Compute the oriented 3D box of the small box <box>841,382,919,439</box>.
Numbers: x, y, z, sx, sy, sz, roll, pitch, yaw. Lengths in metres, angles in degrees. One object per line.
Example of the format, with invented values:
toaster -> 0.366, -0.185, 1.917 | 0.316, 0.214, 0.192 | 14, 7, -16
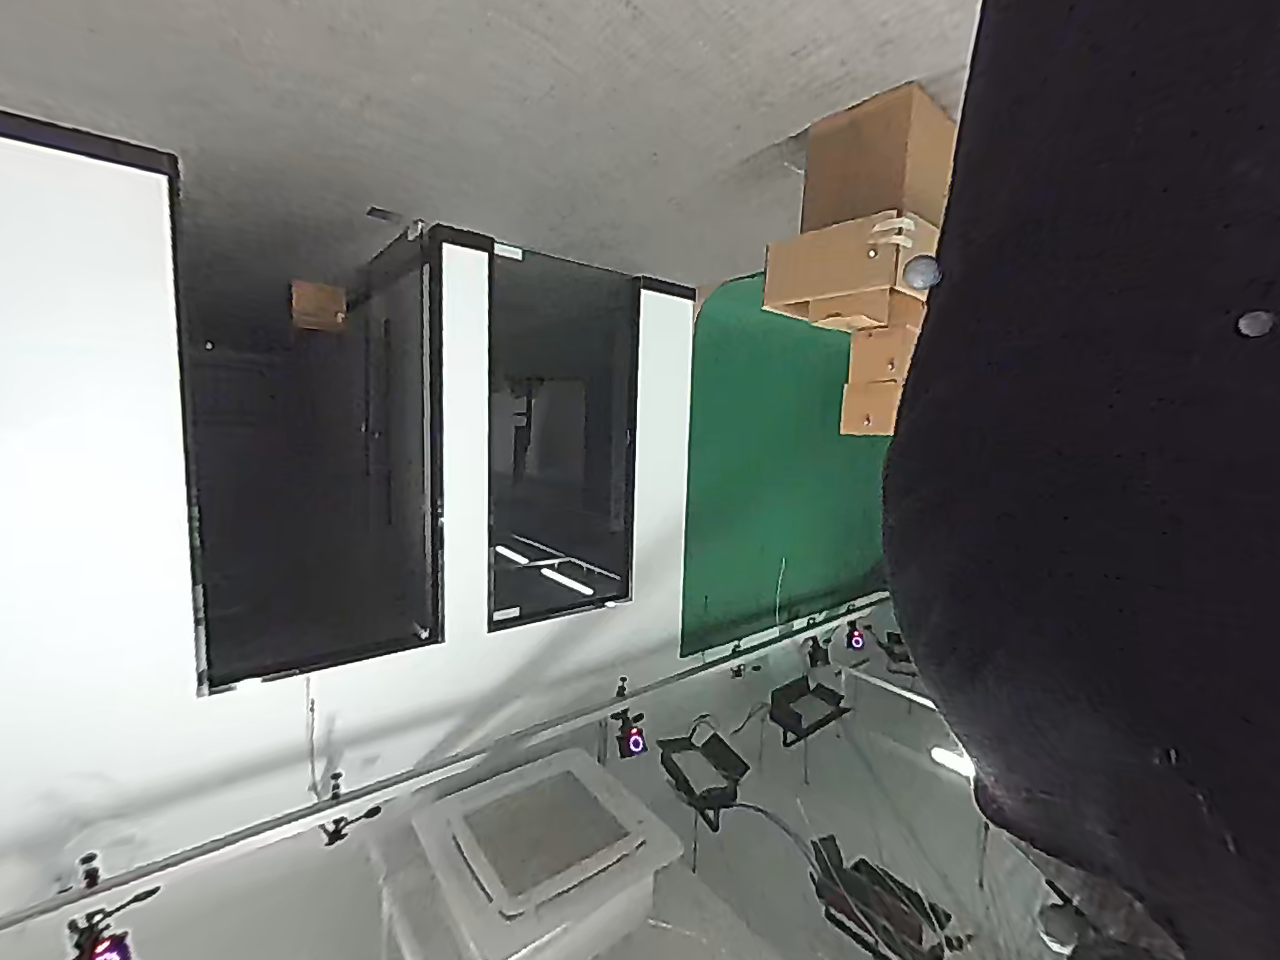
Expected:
small box -> 0.781, -0.224, 1.757 | 0.168, 0.176, 0.179 | -2, -173, -39
